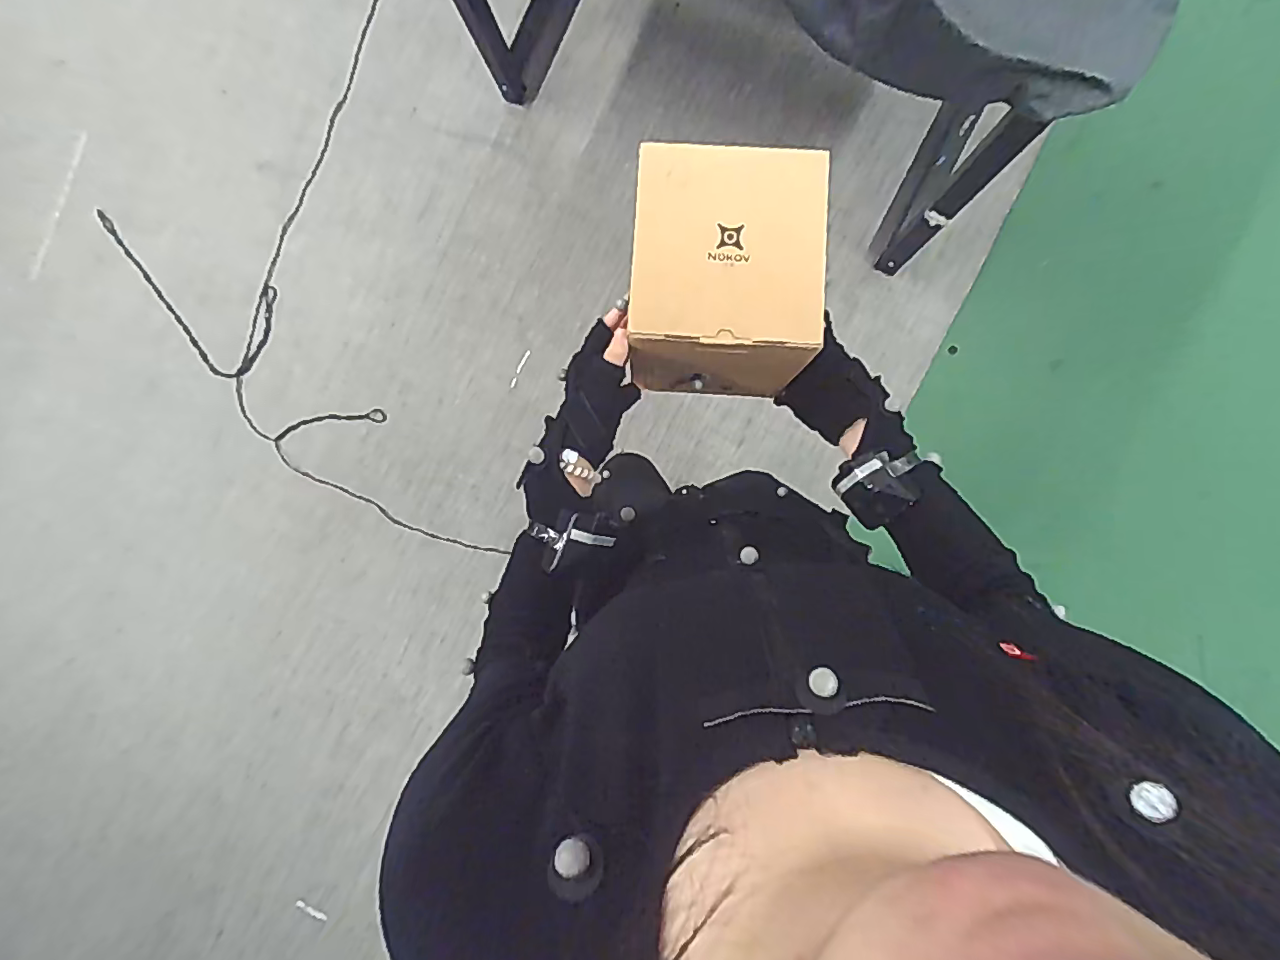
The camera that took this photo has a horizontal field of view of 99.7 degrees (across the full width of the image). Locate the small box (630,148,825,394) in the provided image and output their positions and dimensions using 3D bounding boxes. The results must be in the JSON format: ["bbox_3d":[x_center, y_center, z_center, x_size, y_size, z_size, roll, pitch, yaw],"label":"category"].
[{"bbox_3d":[0.078,-0.198,0.553,0.168,0.176,0.179,4,86,1],"label":"small box"}]
